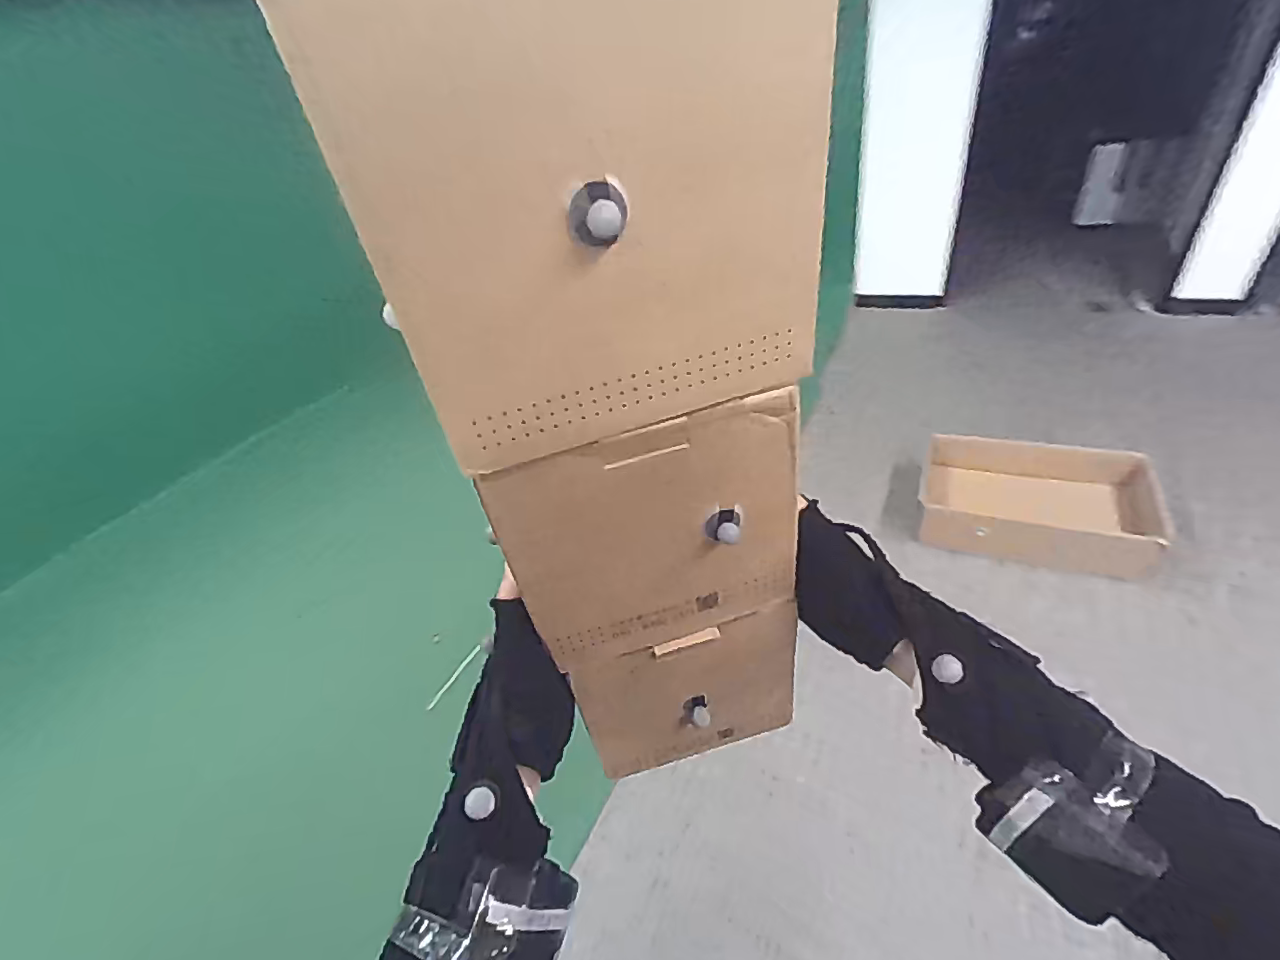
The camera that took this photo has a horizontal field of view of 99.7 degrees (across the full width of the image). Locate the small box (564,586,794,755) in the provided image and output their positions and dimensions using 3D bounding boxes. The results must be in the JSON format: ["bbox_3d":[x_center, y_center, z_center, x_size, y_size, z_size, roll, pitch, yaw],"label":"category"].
[{"bbox_3d":[0.025,0.118,0.481,0.168,0.176,0.179,-15,39,-5],"label":"small box"}]

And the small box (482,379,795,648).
[{"bbox_3d":[-0.005,-0.006,0.379,0.168,0.176,0.179,-15,37,-6],"label":"small box"}]

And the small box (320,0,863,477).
[{"bbox_3d":[-0.025,-0.128,0.271,0.179,0.176,0.168,-18,39,-13],"label":"small box"}]
